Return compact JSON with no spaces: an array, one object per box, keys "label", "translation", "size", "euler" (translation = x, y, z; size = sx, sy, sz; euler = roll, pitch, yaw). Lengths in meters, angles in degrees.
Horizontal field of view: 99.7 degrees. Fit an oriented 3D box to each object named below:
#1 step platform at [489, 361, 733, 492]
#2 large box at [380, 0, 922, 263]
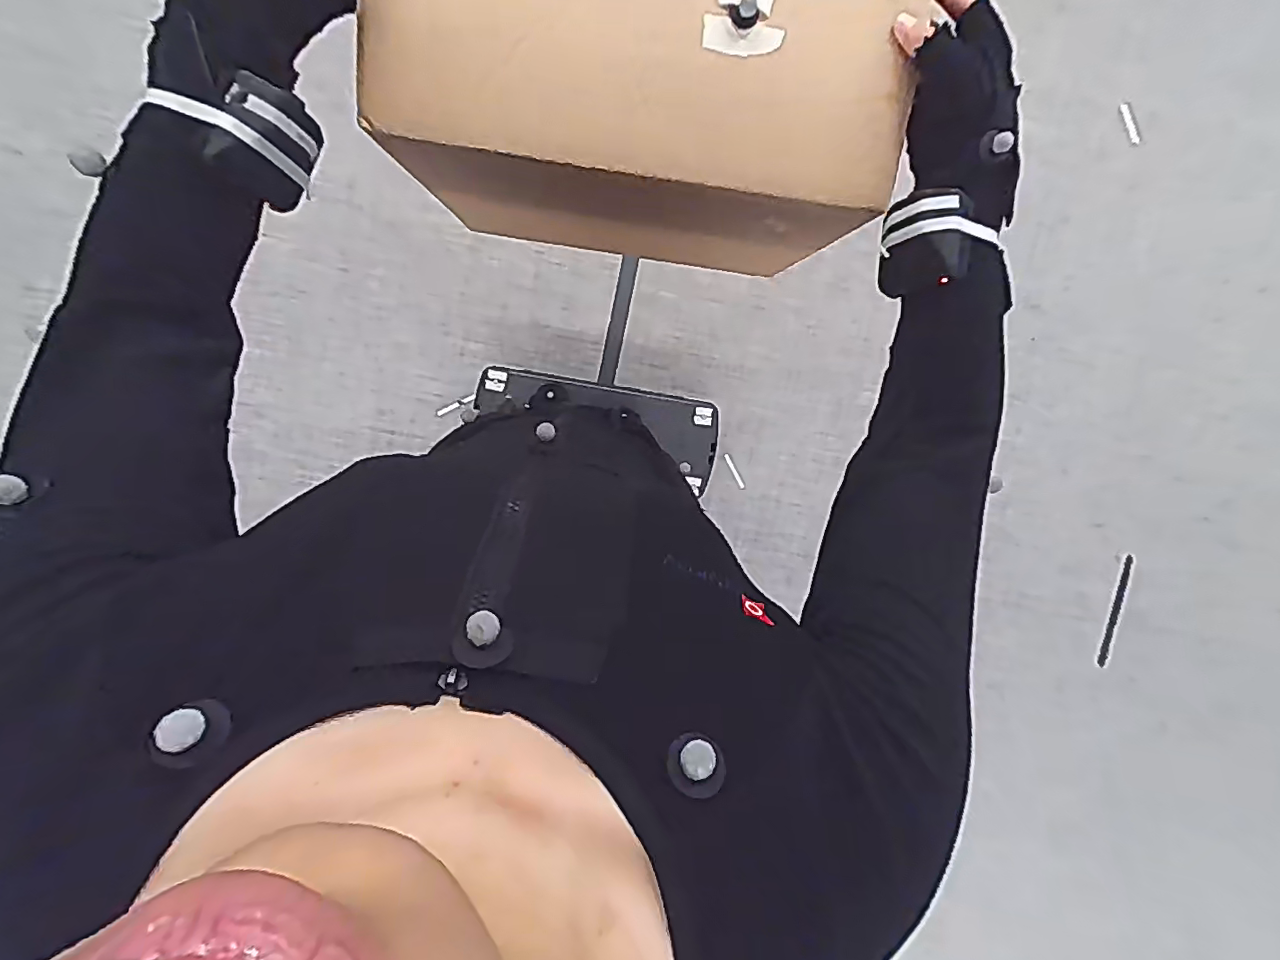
[{"label":"step platform","translation":[-0.082,-0.151,1.558],"size":[0.684,0.204,0.286],"euler":[8,97,-5]},{"label":"large box","translation":[0.008,-0.424,0.533],"size":[0.408,0.320,0.320],"euler":[6,103,-5]}]
